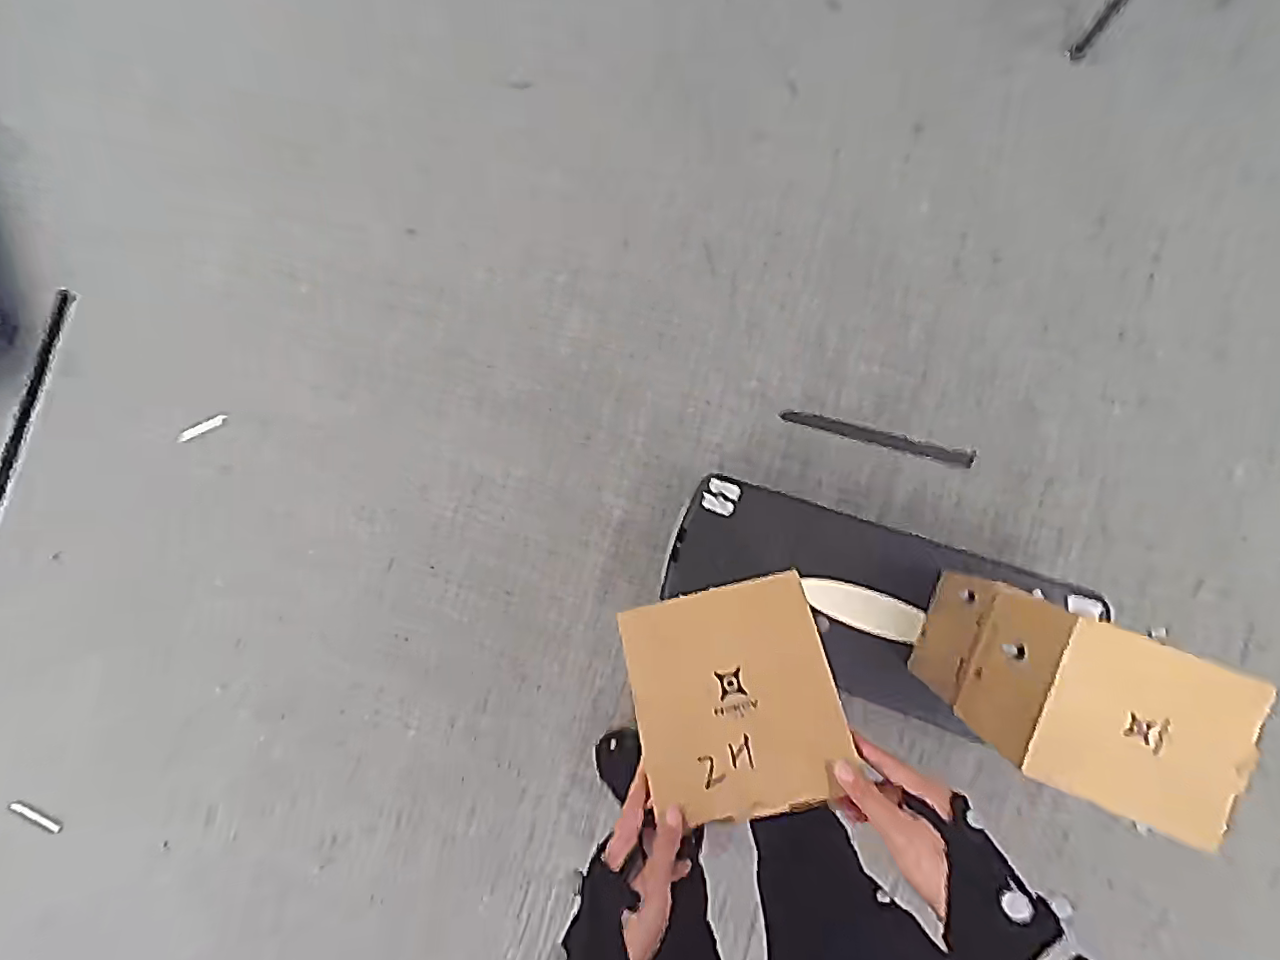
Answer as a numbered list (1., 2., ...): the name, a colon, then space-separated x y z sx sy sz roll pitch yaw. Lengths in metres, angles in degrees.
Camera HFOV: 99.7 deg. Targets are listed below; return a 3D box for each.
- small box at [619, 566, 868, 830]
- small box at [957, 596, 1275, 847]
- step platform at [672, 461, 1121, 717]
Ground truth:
1. small box: 0.088 0.198 0.512 0.168 0.176 0.179 -15 68 5
2. small box: 0.484 0.236 0.585 0.179 0.176 0.168 21 90 9
3. step platform: 0.403 0.193 0.943 0.684 0.204 0.286 18 89 11
